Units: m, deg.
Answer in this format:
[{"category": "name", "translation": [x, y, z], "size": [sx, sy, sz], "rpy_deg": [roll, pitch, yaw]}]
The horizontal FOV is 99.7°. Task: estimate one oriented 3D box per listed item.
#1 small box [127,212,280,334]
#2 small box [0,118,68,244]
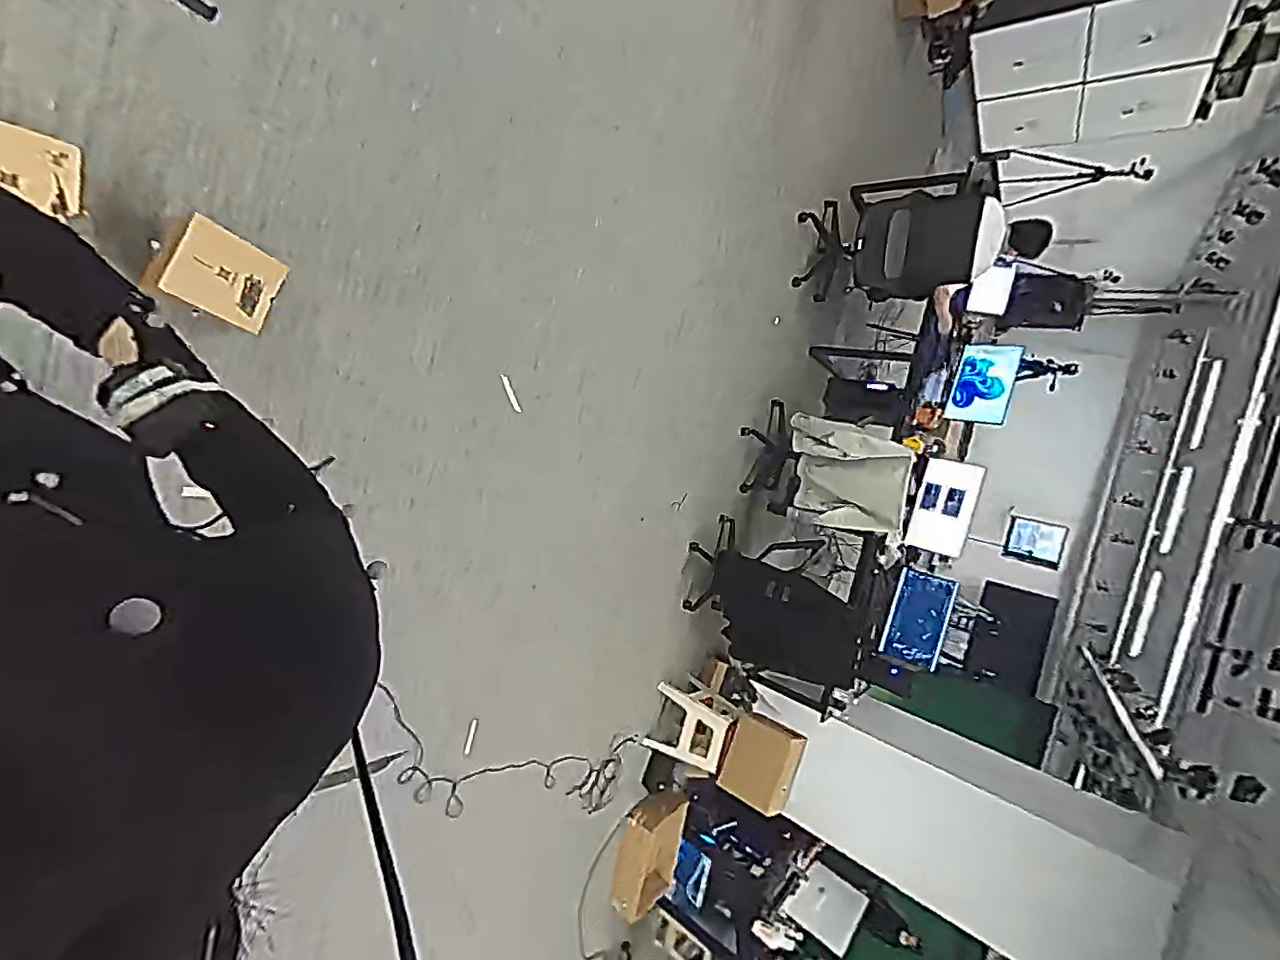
[{"category": "small box", "translation": [-0.900, -0.423, 1.117], "size": [0.179, 0.176, 0.168], "rpy_deg": [32, 77, -53]}, {"category": "small box", "translation": [-1.063, -0.491, 0.870], "size": [0.179, 0.176, 0.168], "rpy_deg": [0, 103, -53]}]
